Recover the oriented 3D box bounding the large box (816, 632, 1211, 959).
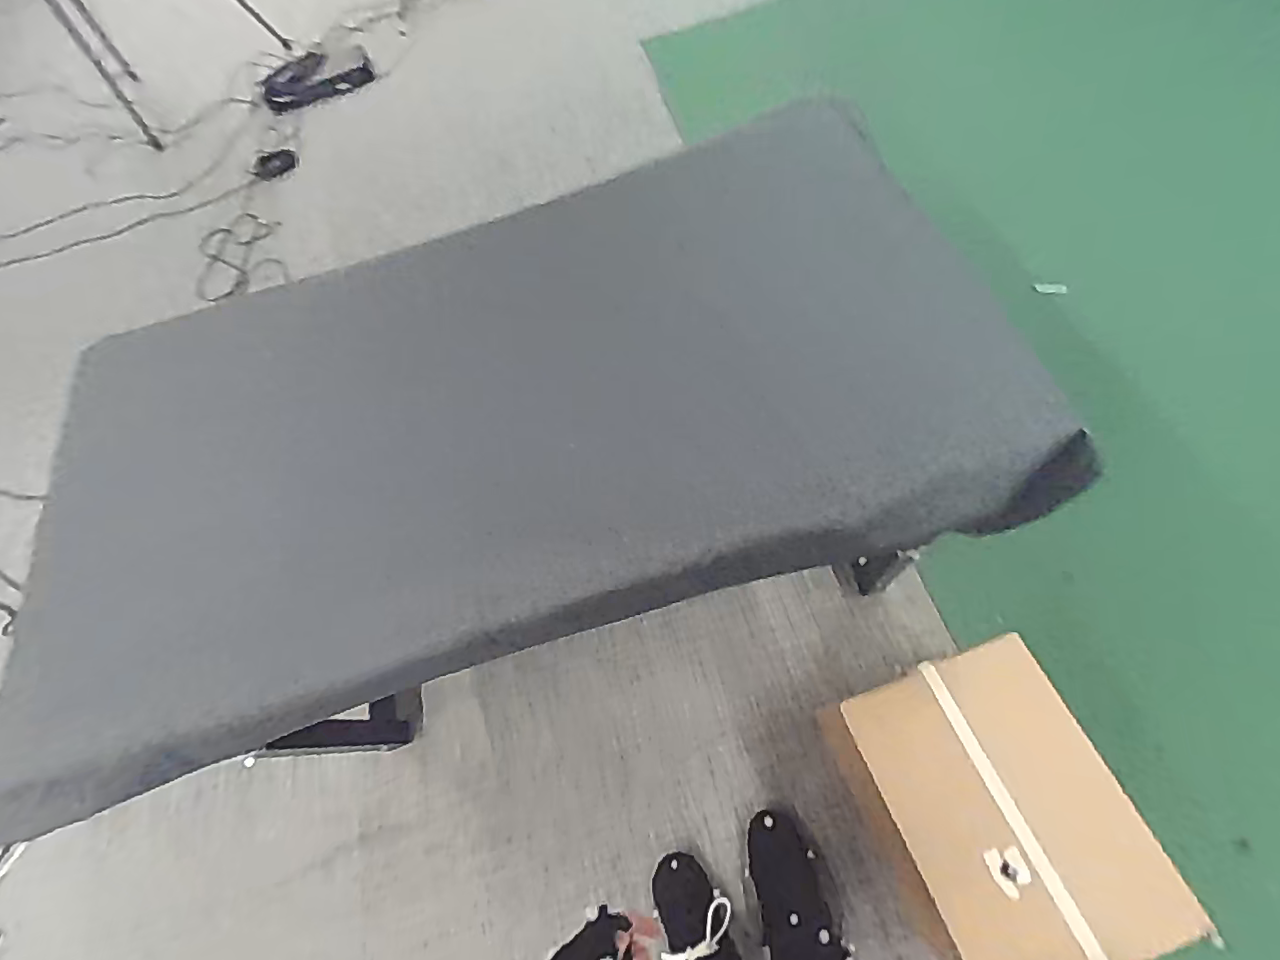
[{"bbox_3d":[0.549,0.521,0.912,0.320,0.320,0.408,-22,64,0],"label":"large box"}]
